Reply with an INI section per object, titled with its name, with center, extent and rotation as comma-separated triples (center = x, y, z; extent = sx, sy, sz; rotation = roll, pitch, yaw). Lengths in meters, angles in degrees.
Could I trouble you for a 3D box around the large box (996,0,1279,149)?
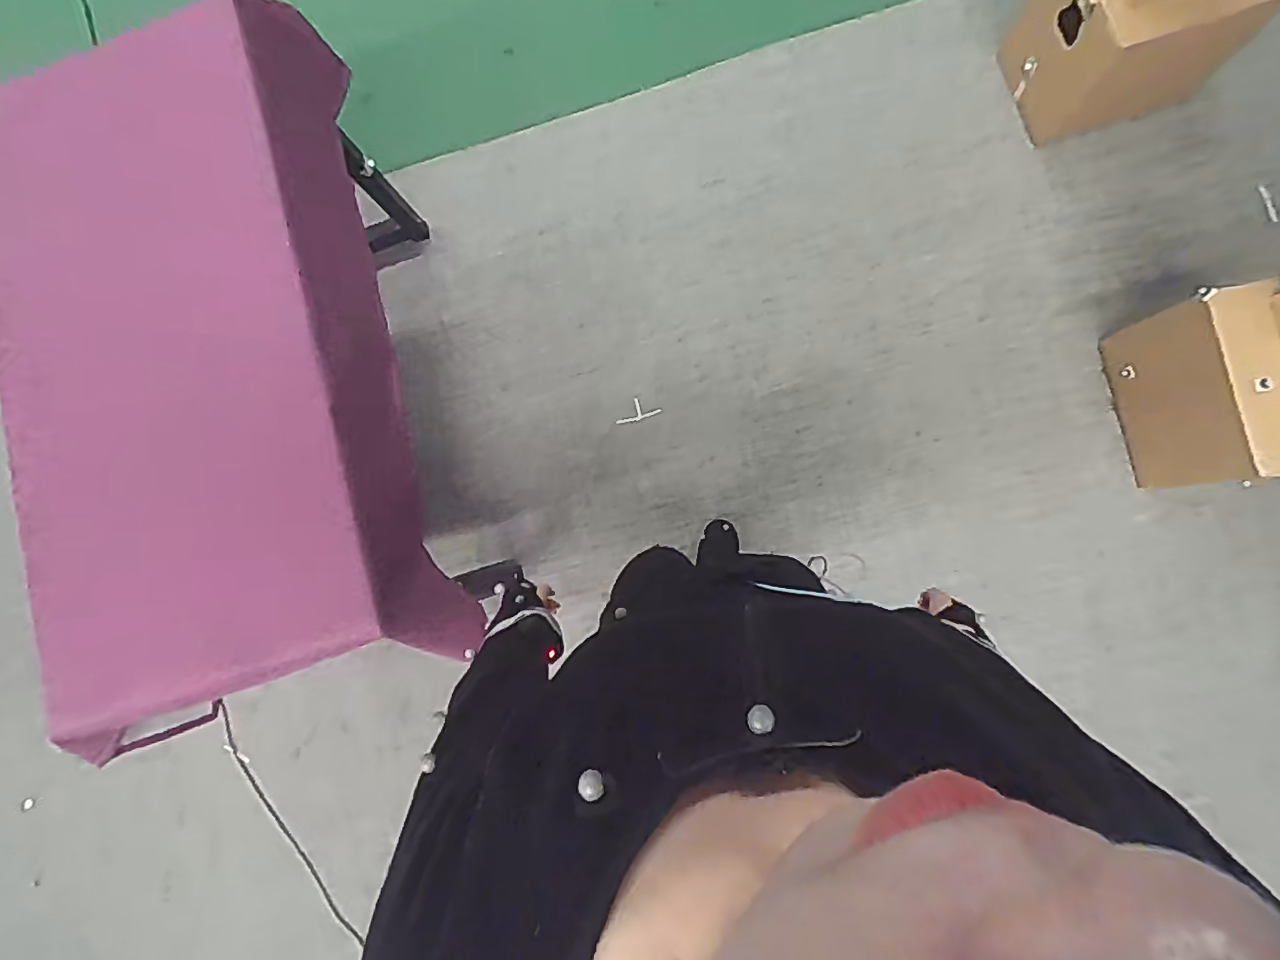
[large box]
center = 1.227, -1.133, 1.368
extent = 0.408, 0.320, 0.320
rotation = -16, 82, 4
